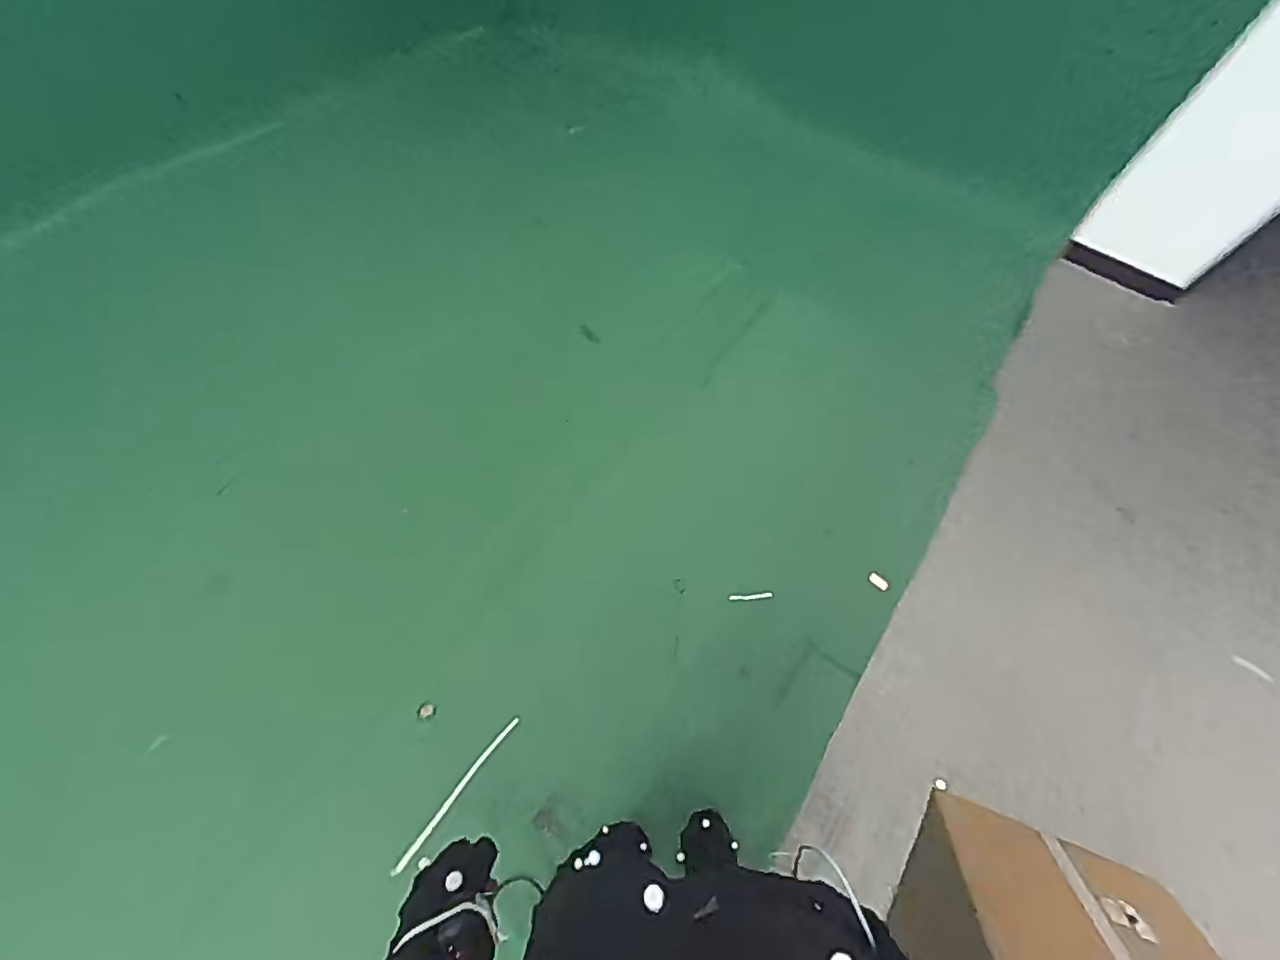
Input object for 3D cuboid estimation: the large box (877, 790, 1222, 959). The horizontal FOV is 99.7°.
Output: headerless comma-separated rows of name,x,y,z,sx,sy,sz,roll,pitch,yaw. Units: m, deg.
large box,0.508,0.684,0.648,0.320,0.408,0.320,18,96,16
